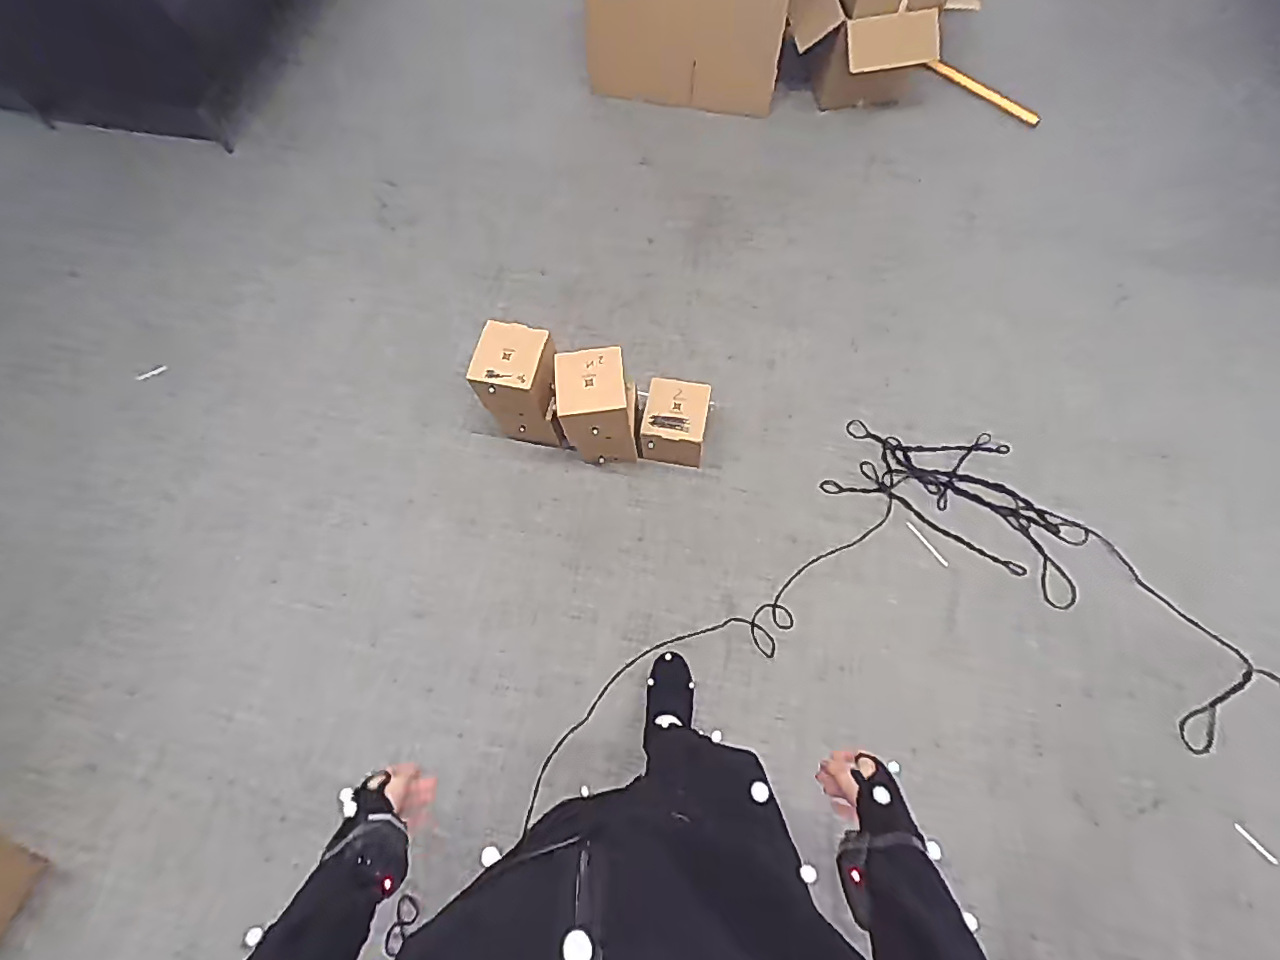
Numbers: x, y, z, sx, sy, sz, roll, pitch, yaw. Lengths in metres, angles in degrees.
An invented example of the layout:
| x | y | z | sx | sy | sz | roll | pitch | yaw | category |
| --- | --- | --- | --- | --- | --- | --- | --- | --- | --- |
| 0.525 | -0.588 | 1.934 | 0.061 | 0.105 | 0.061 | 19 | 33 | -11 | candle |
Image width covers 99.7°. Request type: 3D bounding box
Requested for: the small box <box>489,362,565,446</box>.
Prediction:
| x | y | z | sx | sy | sz | roll | pitch | yaw | category |
| --- | --- | --- | --- | --- | --- | --- | --- | --- | --- |
| -0.300 | -0.212 | 1.544 | 0.179 | 0.176 | 0.168 | 10 | 69 | 8 | small box |

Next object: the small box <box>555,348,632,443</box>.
| x | y | z | sx | sy | sz | roll | pitch | yaw | category |
| --- | --- | --- | --- | --- | --- | --- | --- | --- | --- |
| -0.113 | -0.203 | 1.355 | 0.168 | 0.176 | 0.179 | -6 | 68 | 1 | small box |
